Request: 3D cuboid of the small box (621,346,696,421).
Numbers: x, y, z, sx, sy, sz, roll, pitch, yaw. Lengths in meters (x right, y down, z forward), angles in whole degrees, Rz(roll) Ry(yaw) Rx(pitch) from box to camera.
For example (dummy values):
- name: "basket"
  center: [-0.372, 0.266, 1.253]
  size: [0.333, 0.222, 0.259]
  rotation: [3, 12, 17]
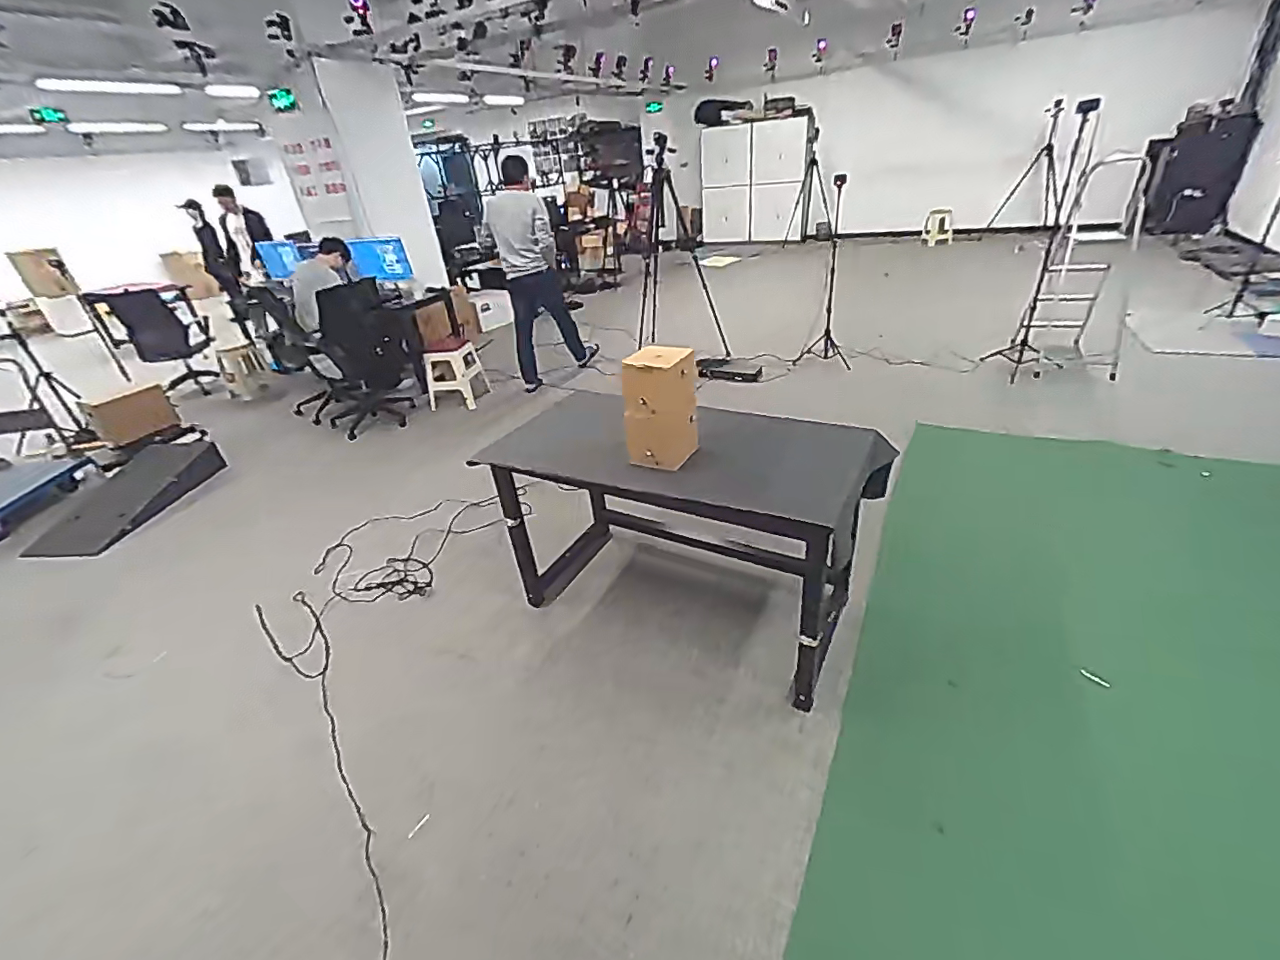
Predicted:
- name: "small box"
  center: [0.060, -0.292, 1.629]
  size: [0.168, 0.176, 0.179]
  rotation: [13, 35, 27]

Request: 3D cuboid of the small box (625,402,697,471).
- name: "small box"
  center: [0.070, -0.149, 1.706]
  size: [0.168, 0.176, 0.179]
  rotation: [12, 34, 28]
